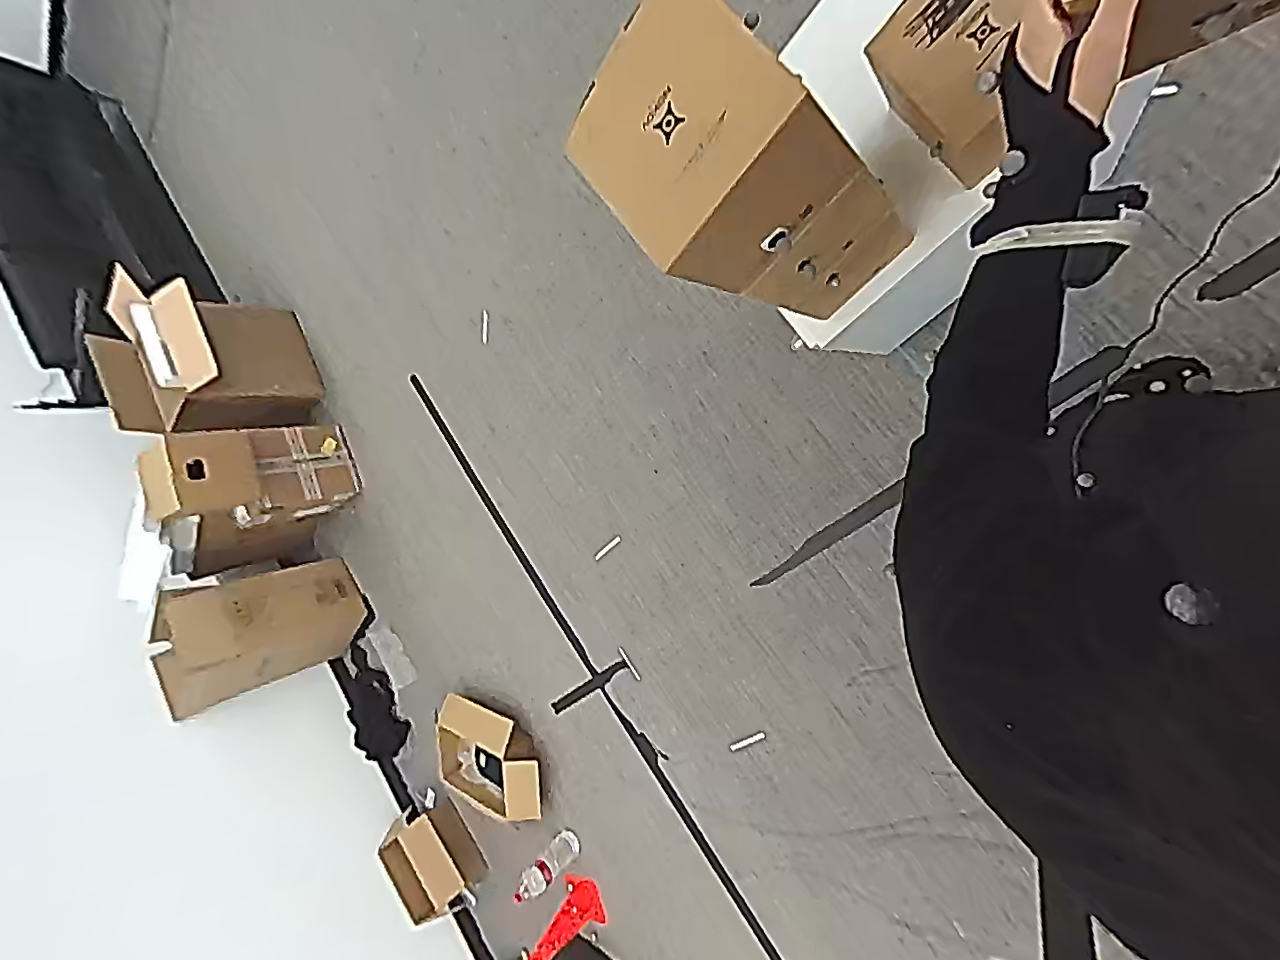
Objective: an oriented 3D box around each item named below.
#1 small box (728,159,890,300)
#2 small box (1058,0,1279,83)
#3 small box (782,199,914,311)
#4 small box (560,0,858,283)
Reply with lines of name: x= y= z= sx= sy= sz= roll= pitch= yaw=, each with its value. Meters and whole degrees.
small box: x=0.159 y=-0.330 z=0.631 sx=0.168 sy=0.176 sz=0.179 roll=-44 pitch=74 yaw=33
small box: x=0.356 y=-0.401 z=0.332 sx=0.168 sy=0.176 sz=0.179 roll=-7 pitch=95 yaw=44
small box: x=0.251 y=-0.359 z=0.762 sx=0.168 sy=0.176 sz=0.179 roll=-43 pitch=74 yaw=34
small box: x=0.067 y=-0.306 z=0.500 sx=0.168 sy=0.176 sz=0.179 roll=-45 pitch=74 yaw=34
